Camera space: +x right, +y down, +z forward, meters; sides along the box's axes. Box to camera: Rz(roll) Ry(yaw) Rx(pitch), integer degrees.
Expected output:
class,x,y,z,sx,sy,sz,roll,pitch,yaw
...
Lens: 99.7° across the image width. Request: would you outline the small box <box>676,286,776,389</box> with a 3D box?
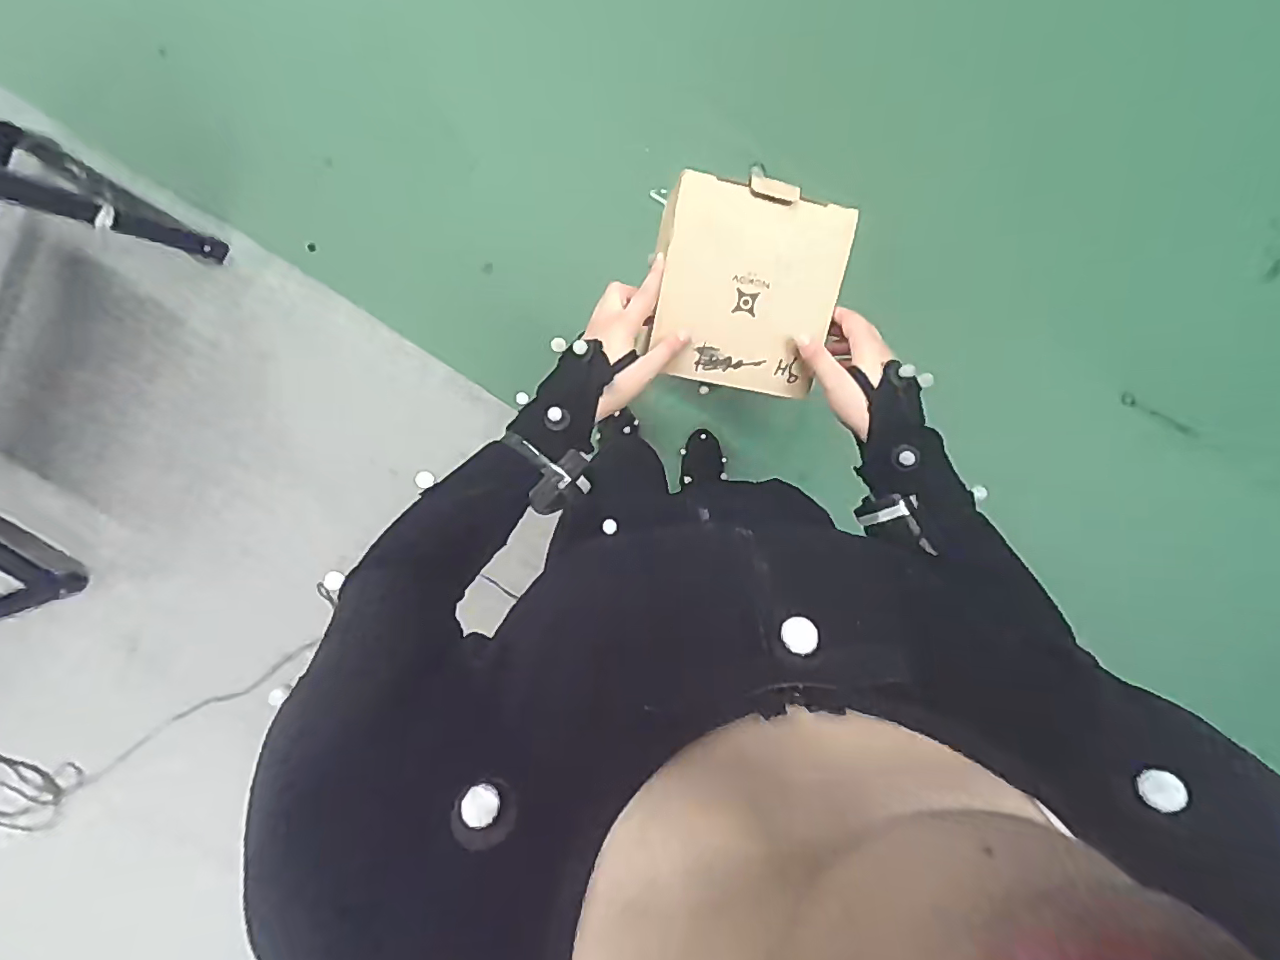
class,x,y,z,sx,sy,sz,roll,pitch,yaw
small box,0.206,-0.341,1.331,0.168,0.176,0.179,40,99,-4
